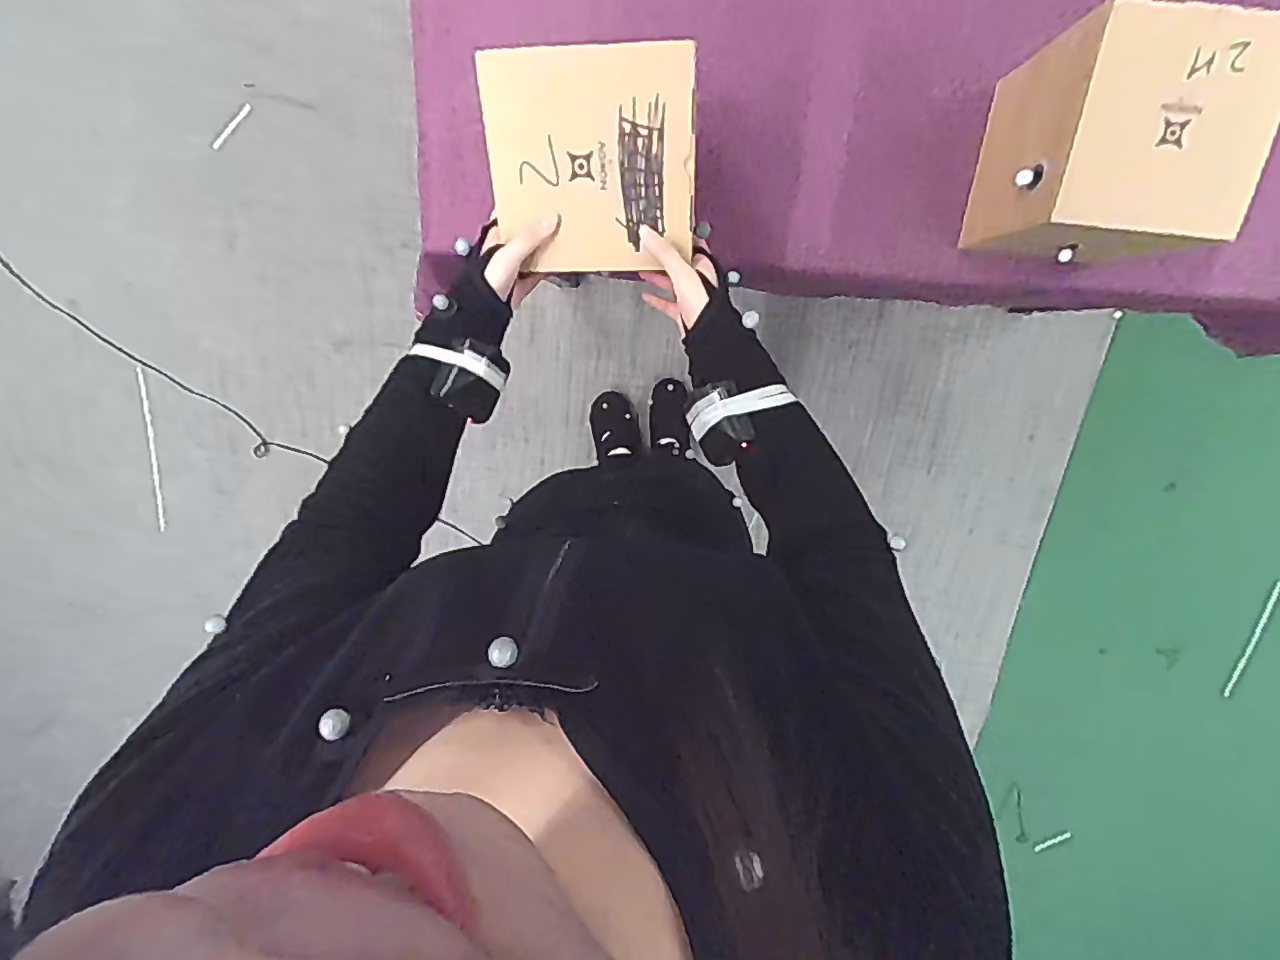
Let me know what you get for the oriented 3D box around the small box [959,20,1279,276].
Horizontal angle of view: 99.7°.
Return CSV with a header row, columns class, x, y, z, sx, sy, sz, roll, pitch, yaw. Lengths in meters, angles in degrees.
class,x,y,z,sx,sy,sz,roll,pitch,yaw
small box,0.464,-0.316,0.554,0.168,0.176,0.179,8,105,0
